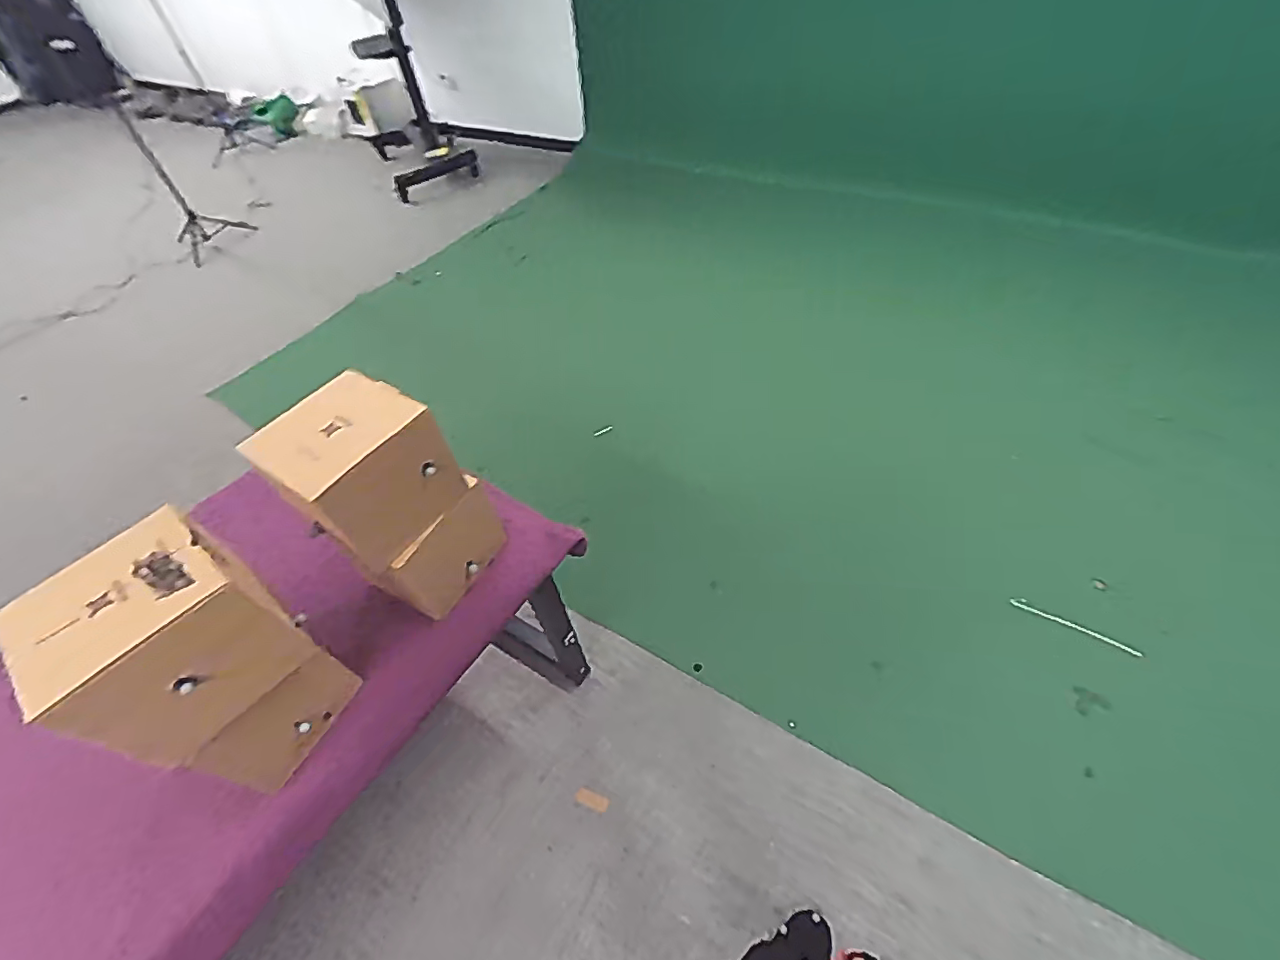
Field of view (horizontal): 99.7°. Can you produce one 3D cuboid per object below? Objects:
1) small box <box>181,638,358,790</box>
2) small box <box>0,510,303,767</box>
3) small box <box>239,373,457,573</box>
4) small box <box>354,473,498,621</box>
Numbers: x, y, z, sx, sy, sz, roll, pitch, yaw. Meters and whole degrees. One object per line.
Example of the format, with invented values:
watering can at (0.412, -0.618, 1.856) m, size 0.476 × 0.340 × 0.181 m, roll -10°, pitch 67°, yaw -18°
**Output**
small box at (-0.526, 0.282, 0.720) m, size 0.179 × 0.176 × 0.168 m, roll 17°, pitch 54°, yaw 20°
small box at (-0.513, 0.173, 0.594) m, size 0.168 × 0.176 × 0.179 m, roll 31°, pitch 60°, yaw 29°
small box at (-0.375, -0.009, 0.734) m, size 0.168 × 0.176 × 0.179 m, roll 25°, pitch 58°, yaw 25°
small box at (-0.348, 0.090, 0.862) m, size 0.168 × 0.176 × 0.179 m, roll 20°, pitch 55°, yaw 22°
